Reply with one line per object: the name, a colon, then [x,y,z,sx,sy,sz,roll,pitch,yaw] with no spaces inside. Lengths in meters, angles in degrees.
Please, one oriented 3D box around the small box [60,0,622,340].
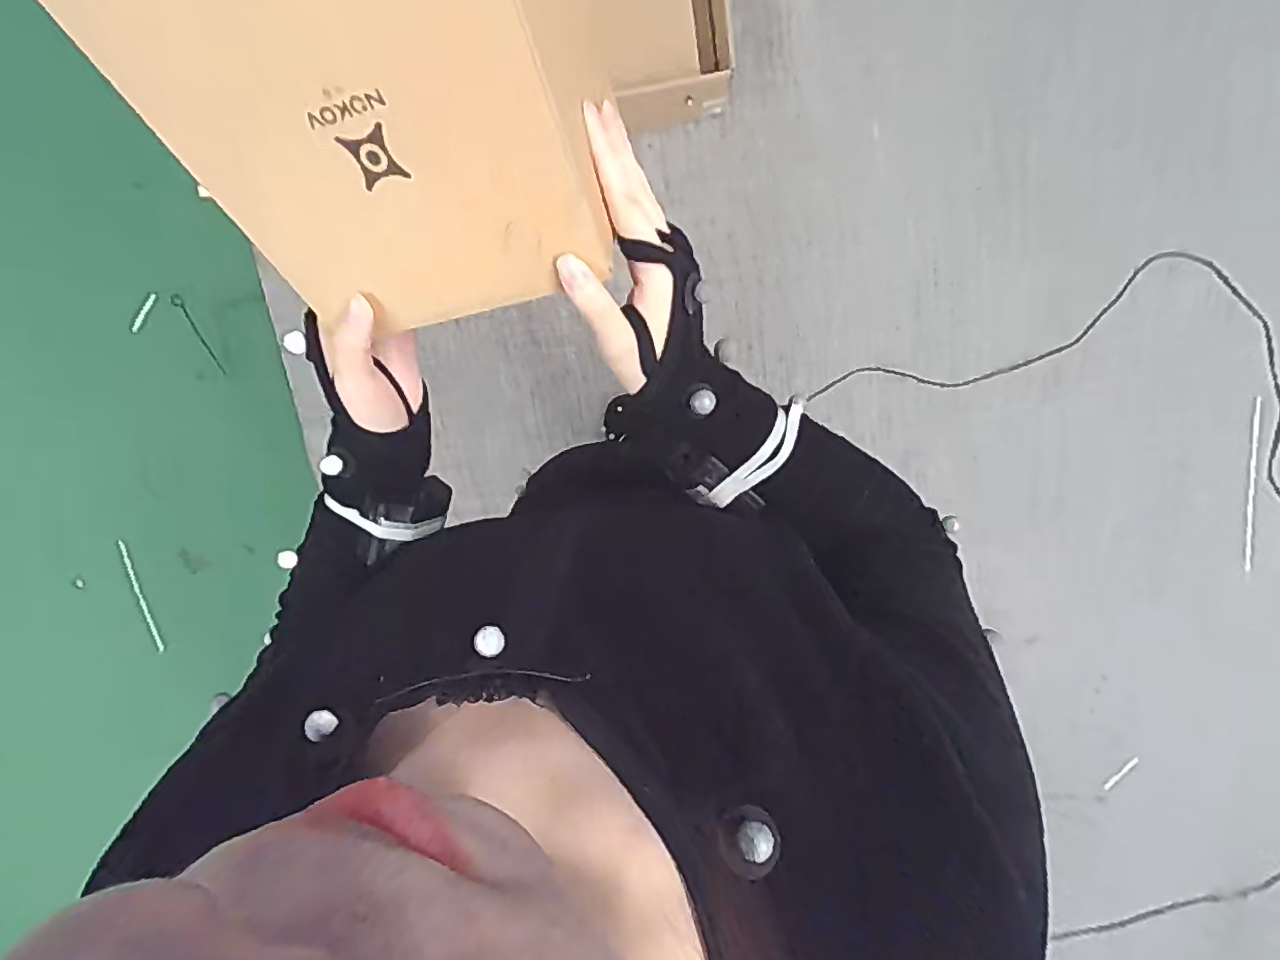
small box: [-0.111,-0.207,0.283,0.168,0.176,0.179,-8,141,13]
